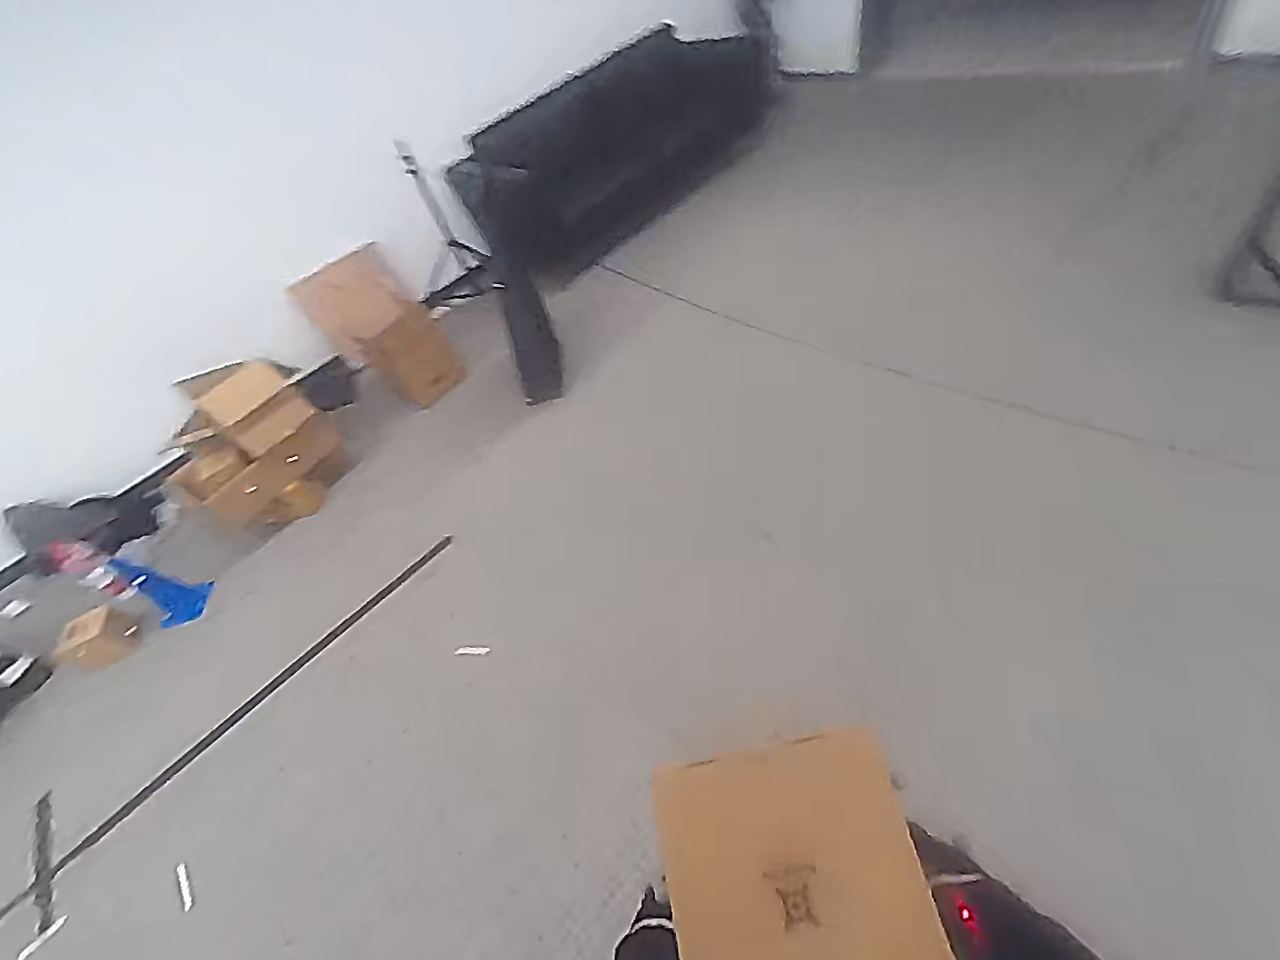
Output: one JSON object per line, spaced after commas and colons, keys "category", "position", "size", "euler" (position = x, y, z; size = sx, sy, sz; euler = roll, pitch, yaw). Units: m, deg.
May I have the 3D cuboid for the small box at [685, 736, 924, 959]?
{"category": "small box", "position": [0.154, 0.375, 0.553], "size": [0.168, 0.176, 0.179], "euler": [-17, 62, 6]}
